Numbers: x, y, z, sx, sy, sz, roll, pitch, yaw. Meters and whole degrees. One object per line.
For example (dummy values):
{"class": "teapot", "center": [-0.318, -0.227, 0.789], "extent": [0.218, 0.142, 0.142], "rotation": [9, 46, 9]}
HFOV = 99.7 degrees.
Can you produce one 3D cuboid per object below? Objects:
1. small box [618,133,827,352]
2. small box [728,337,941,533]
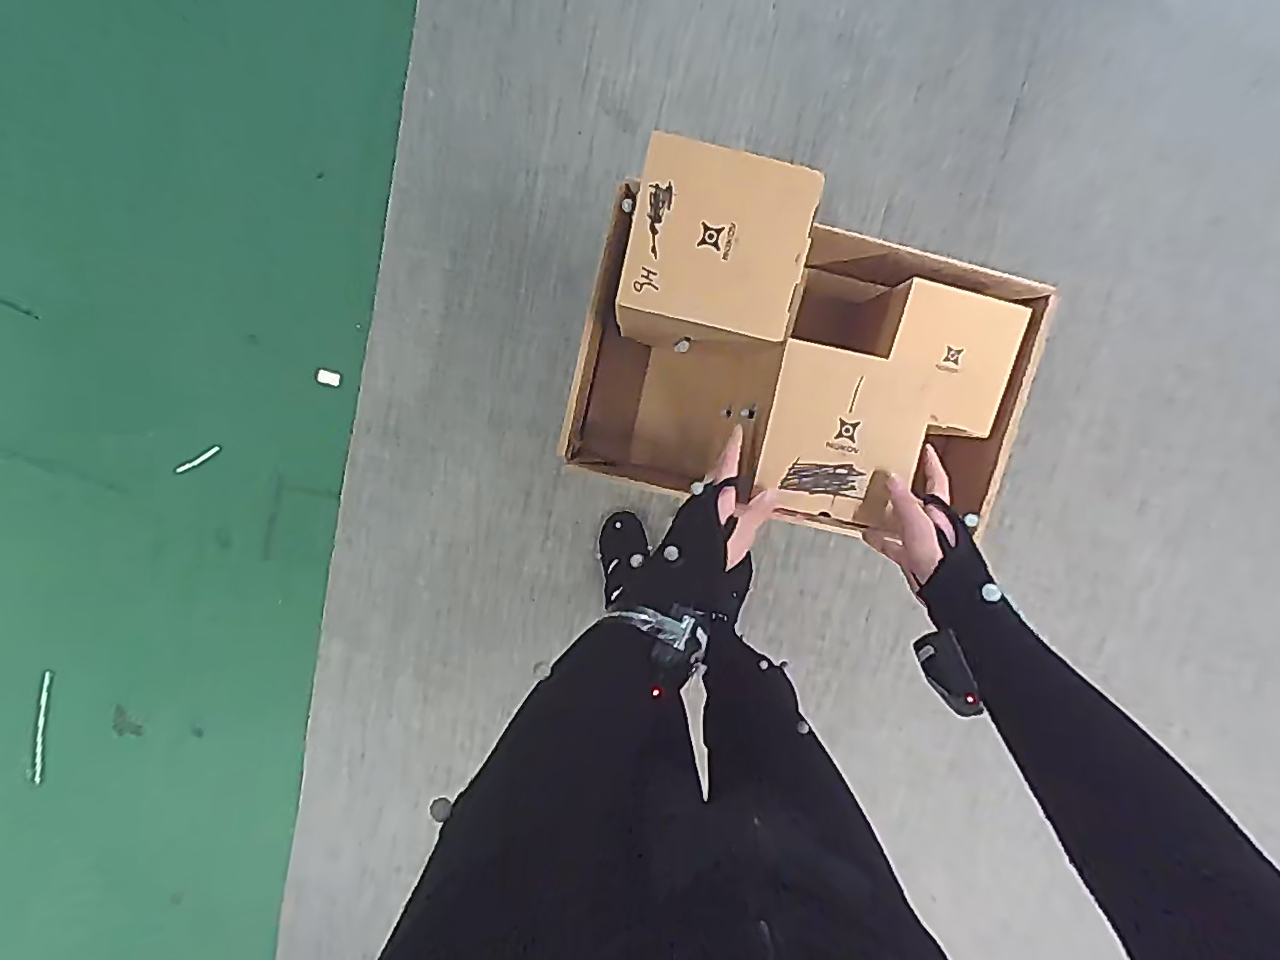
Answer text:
{"class": "small box", "center": [0.077, -0.245, 0.609], "extent": [0.179, 0.176, 0.168], "rotation": [13, 98, -4]}
{"class": "small box", "center": [0.209, -0.054, 0.635], "extent": [0.168, 0.176, 0.179], "rotation": [12, 96, -3]}
